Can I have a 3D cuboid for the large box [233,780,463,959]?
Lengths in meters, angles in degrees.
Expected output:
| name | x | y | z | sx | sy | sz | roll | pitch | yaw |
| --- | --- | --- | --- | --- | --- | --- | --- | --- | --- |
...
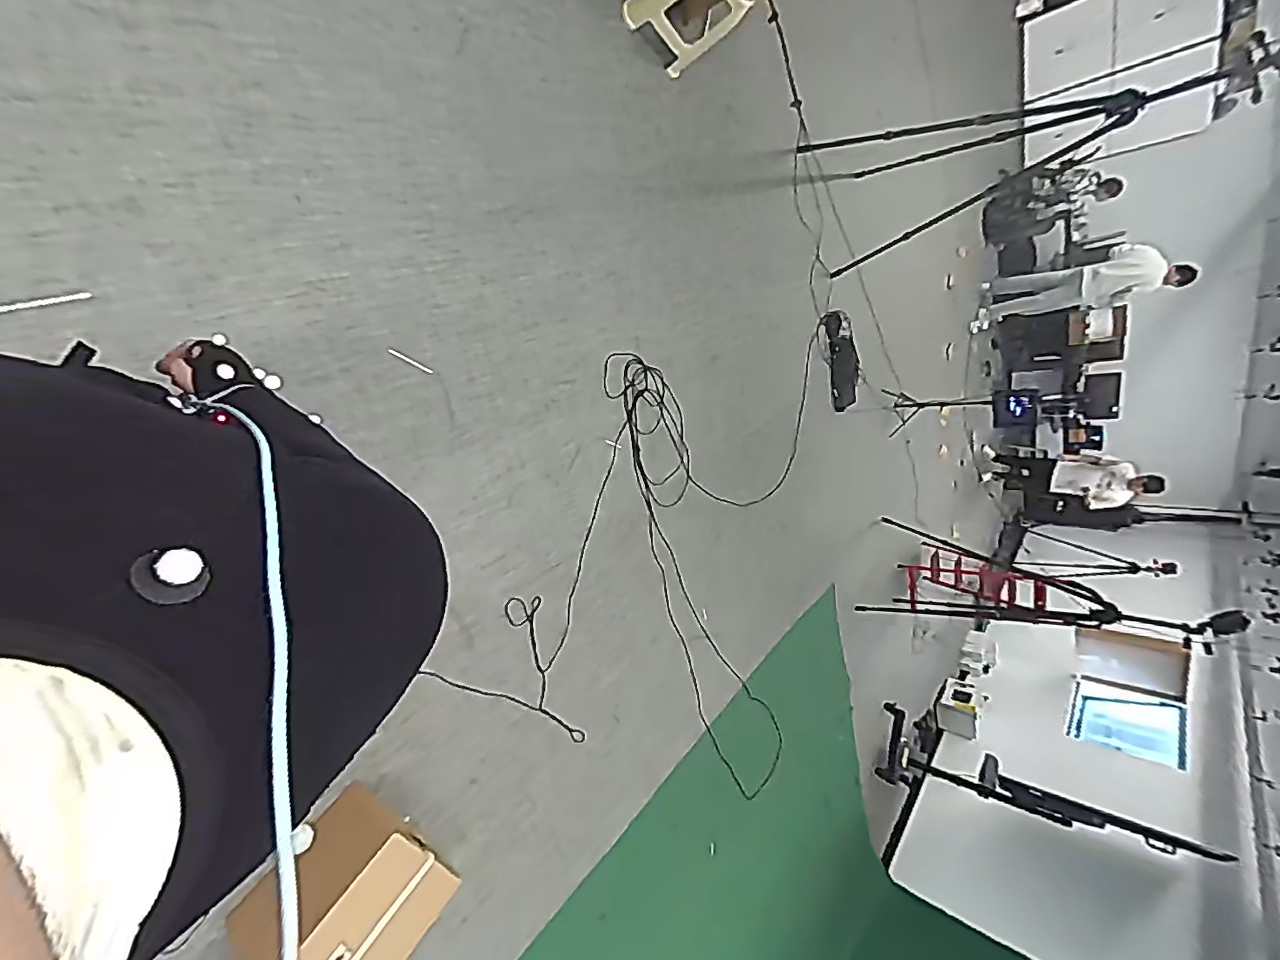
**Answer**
| name | x | y | z | sx | sy | sz | roll | pitch | yaw |
| --- | --- | --- | --- | --- | --- | --- | --- | --- | --- |
| large box | -0.780 | 1.131 | 1.471 | 0.408 | 0.320 | 0.320 | -48 | 124 | -31 |
